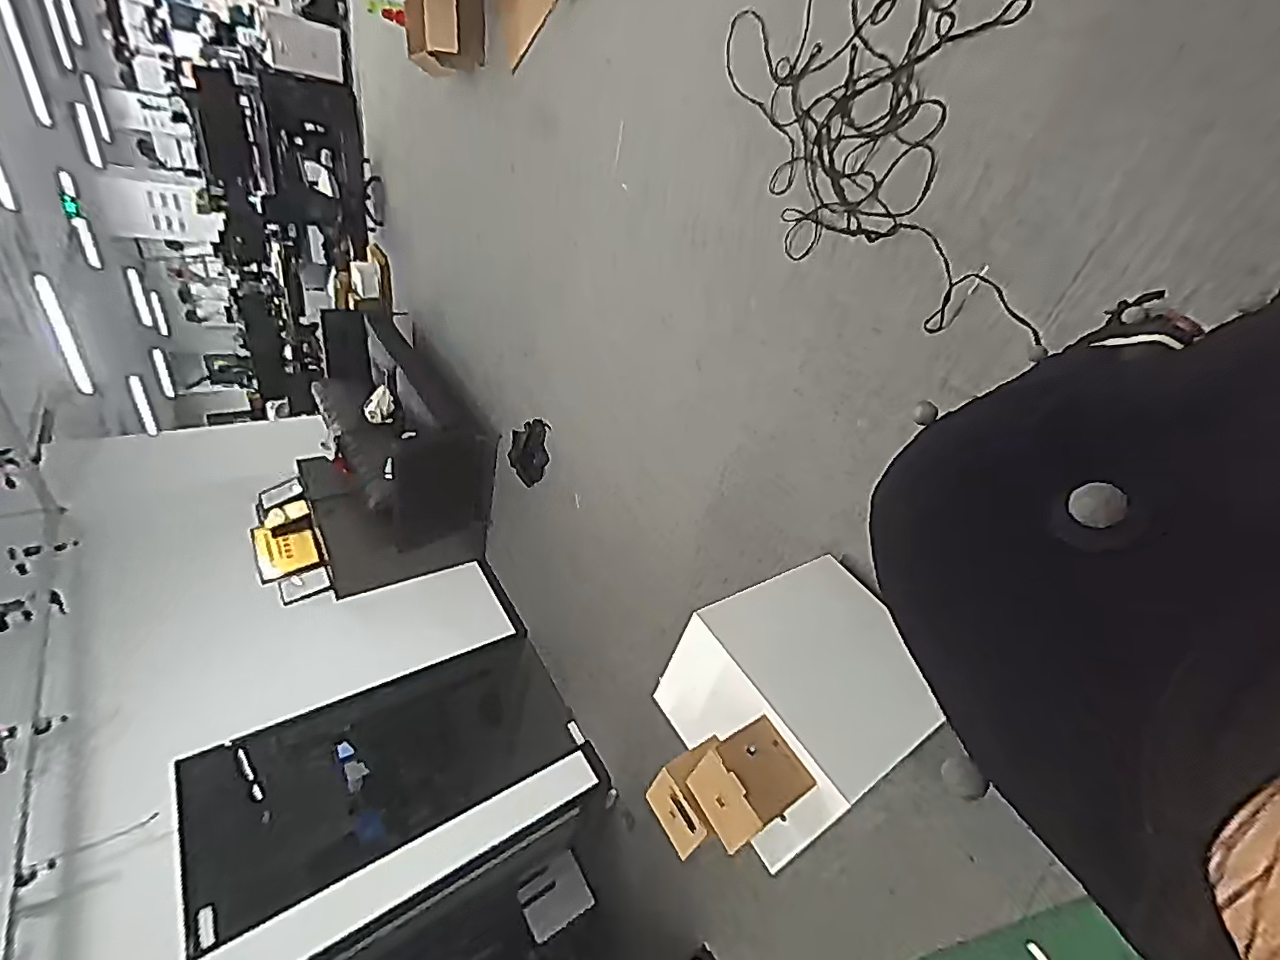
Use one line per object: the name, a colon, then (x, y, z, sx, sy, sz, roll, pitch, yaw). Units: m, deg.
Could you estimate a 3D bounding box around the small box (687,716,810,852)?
small box: (0.233, 0.642, 1.156, 0.168, 0.176, 0.179, 51, 139, 35)
